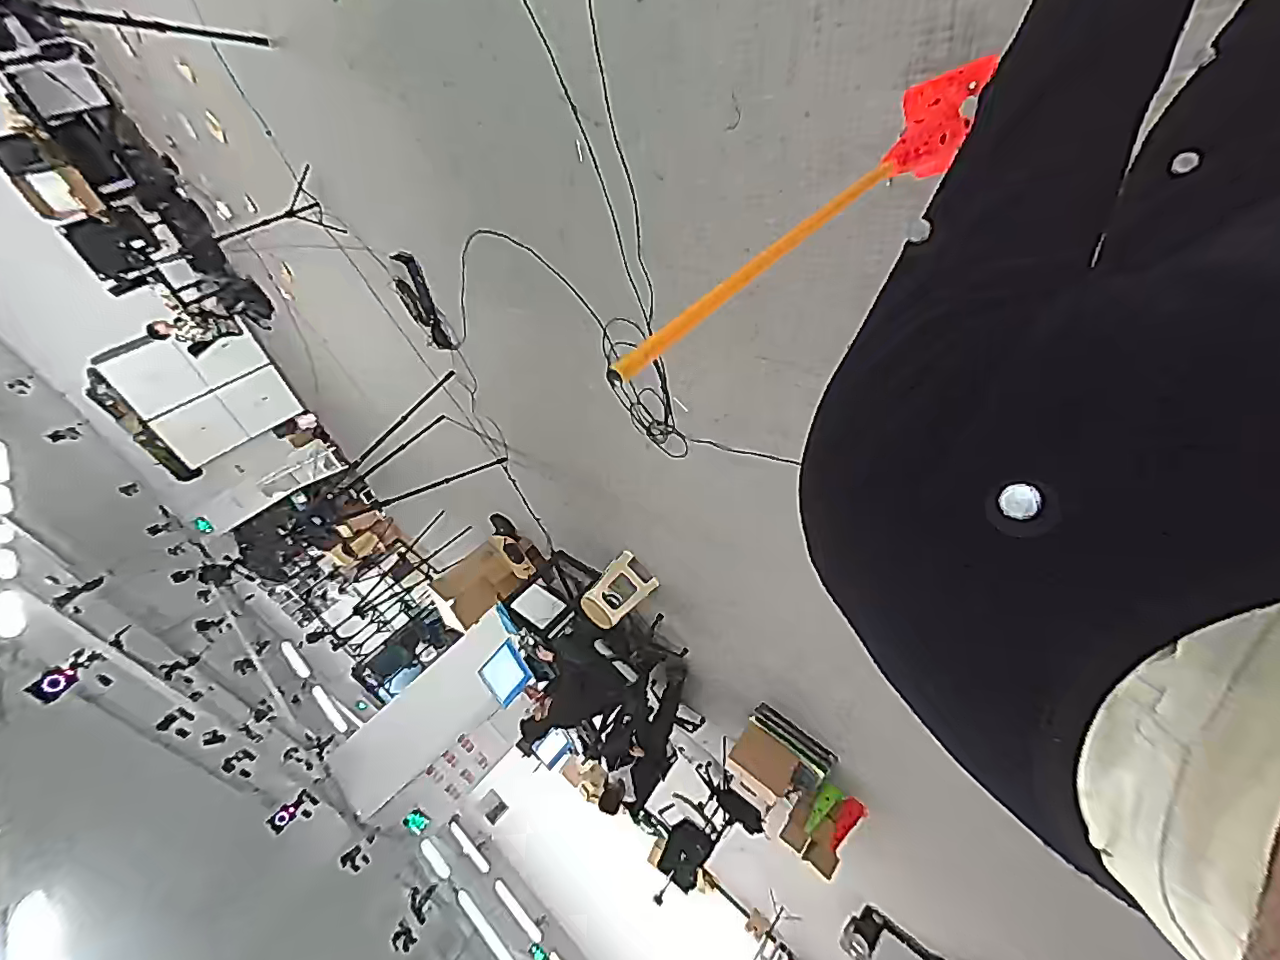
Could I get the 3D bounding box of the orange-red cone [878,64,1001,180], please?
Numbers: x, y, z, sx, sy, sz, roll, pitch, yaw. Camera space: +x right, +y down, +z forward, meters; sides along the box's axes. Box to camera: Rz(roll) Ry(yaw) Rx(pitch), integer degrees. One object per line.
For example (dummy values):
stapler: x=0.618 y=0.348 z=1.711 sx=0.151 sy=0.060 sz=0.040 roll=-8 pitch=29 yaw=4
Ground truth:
orange-red cone: x=0.607 y=-0.719 z=1.167 sx=0.199 sy=0.360 sz=0.198 roll=11 pitch=134 yaw=48
